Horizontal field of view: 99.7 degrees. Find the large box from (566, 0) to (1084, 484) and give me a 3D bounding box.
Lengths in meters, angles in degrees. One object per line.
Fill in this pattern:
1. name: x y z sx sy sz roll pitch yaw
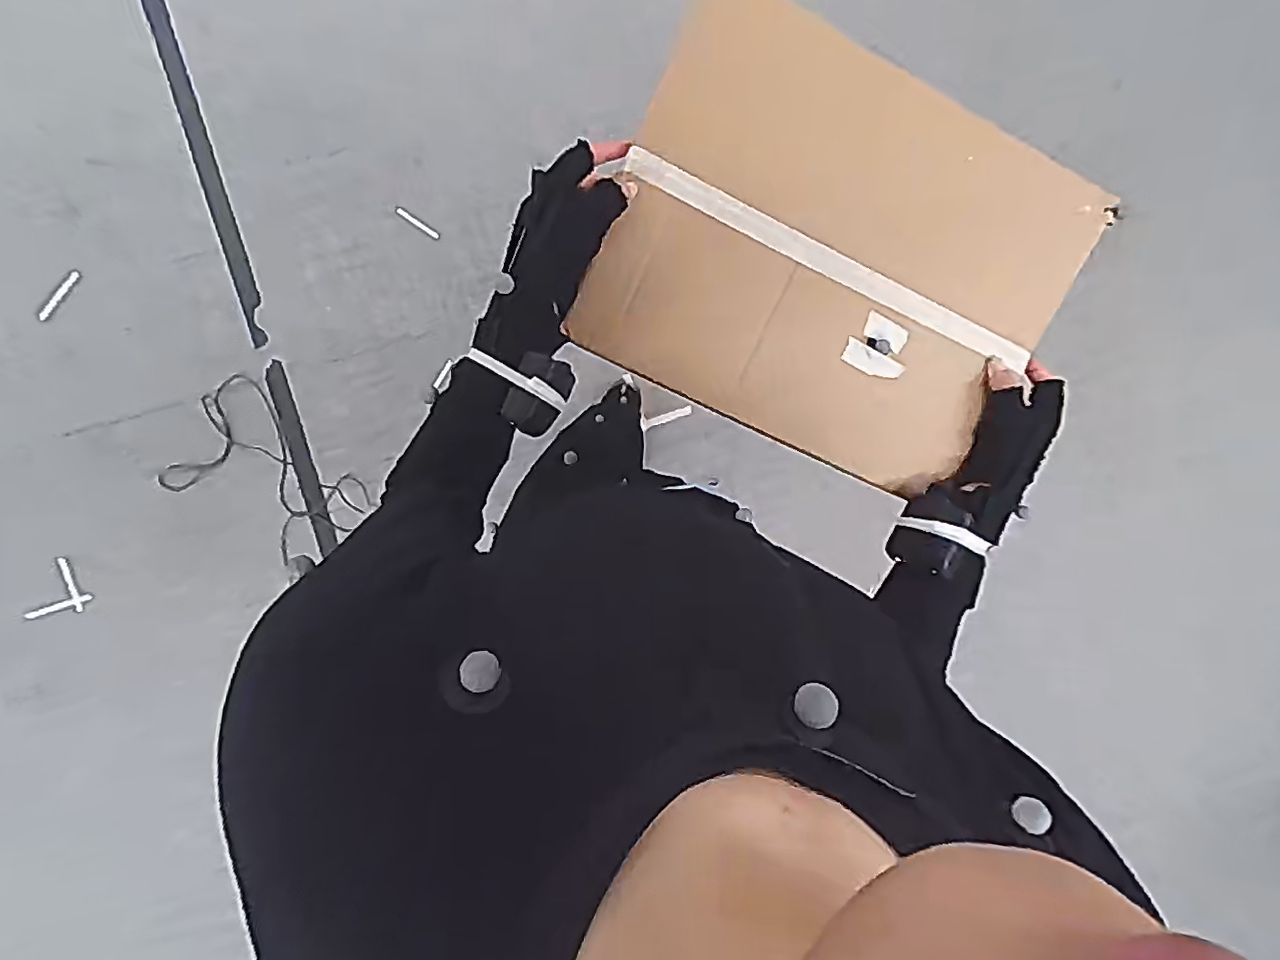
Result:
1. large box: 0.159 -0.237 0.640 0.408 0.320 0.320 23 102 -9
